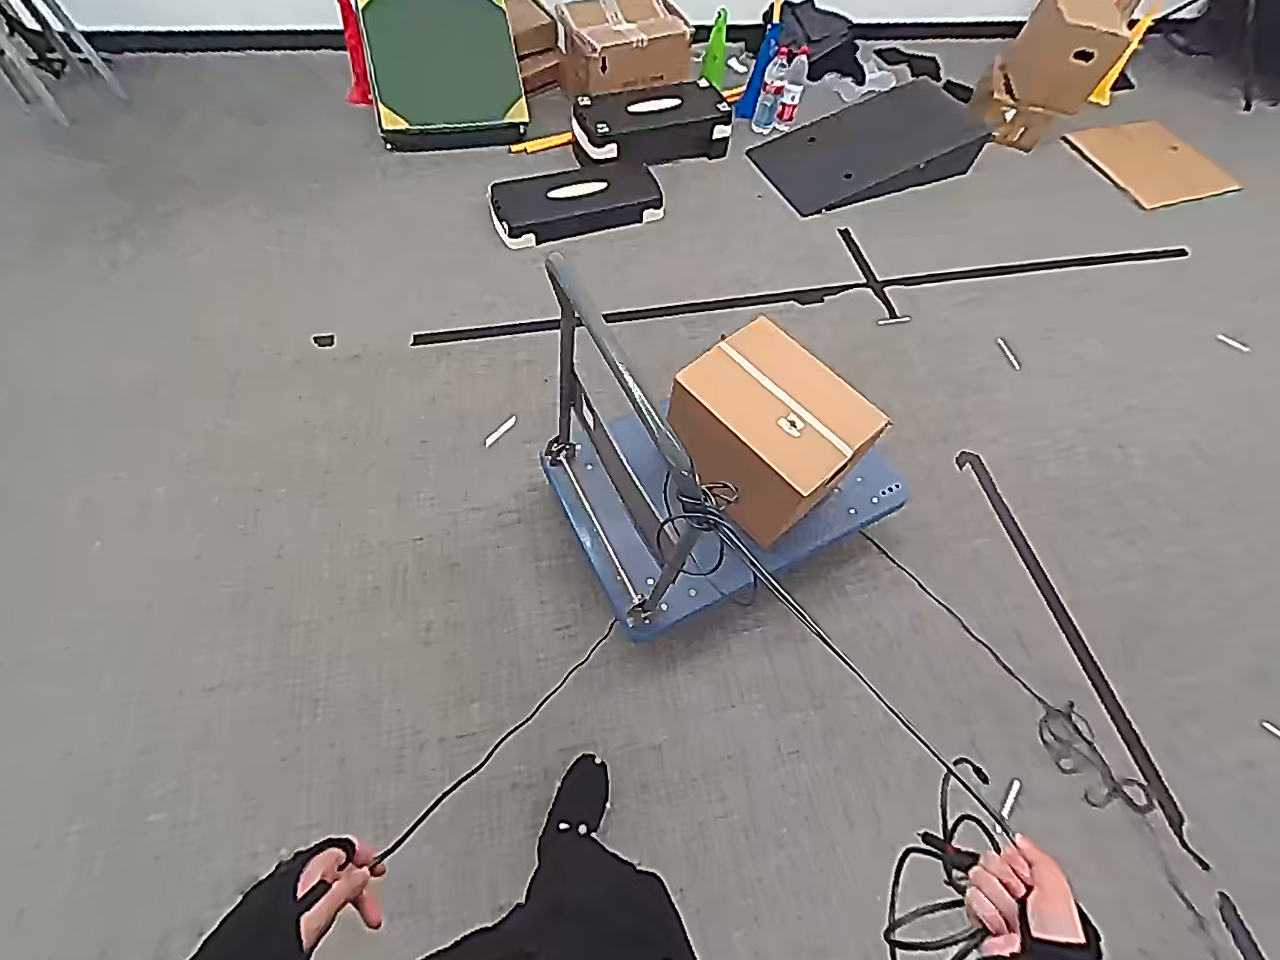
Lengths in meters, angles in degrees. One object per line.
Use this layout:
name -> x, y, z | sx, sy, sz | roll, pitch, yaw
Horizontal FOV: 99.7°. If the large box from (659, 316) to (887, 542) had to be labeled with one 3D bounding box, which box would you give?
large box -> 0.305, -0.123, 1.361 | 0.320, 0.320, 0.408 | -38, 72, -21
